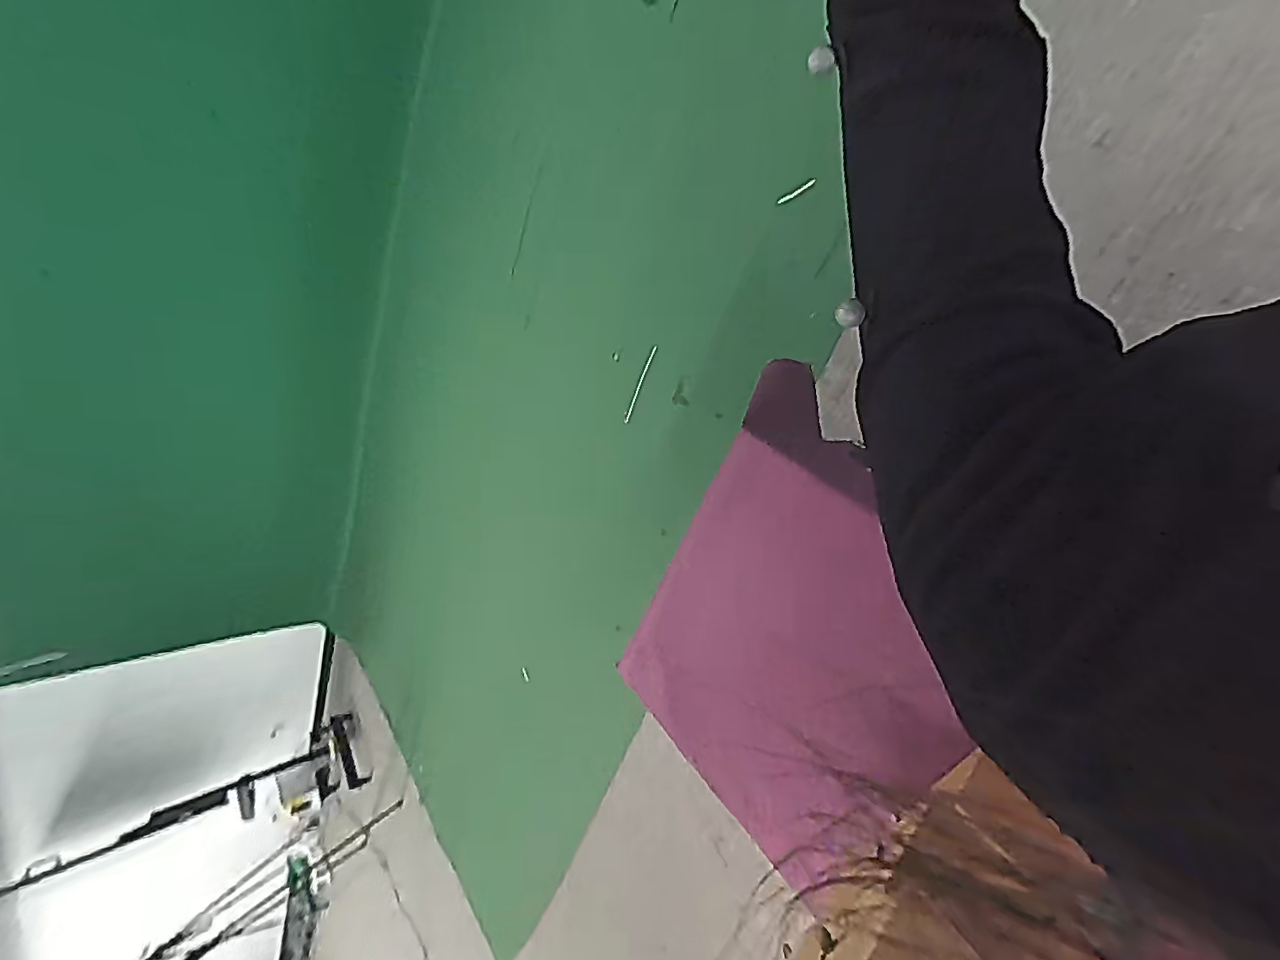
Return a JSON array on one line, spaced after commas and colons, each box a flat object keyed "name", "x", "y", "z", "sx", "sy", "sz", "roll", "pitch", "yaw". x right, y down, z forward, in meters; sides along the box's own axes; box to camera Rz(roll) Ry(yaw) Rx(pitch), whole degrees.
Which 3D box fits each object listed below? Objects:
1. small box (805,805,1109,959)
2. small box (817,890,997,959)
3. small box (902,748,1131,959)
[{"name": "small box", "x": 0.299, "y": 0.459, "z": 0.510, "sx": 0.179, "sy": 0.176, "sz": 0.168, "roll": 44, "pitch": 122, "yaw": 33}, {"name": "small box", "x": 0.192, "y": 0.450, "z": 0.383, "sx": 0.168, "sy": 0.176, "sz": 0.179, "roll": 46, "pitch": 124, "yaw": 31}, {"name": "small box", "x": 0.416, "y": 0.452, "z": 0.620, "sx": 0.168, "sy": 0.176, "sz": 0.179, "roll": 45, "pitch": 122, "yaw": 32}]
